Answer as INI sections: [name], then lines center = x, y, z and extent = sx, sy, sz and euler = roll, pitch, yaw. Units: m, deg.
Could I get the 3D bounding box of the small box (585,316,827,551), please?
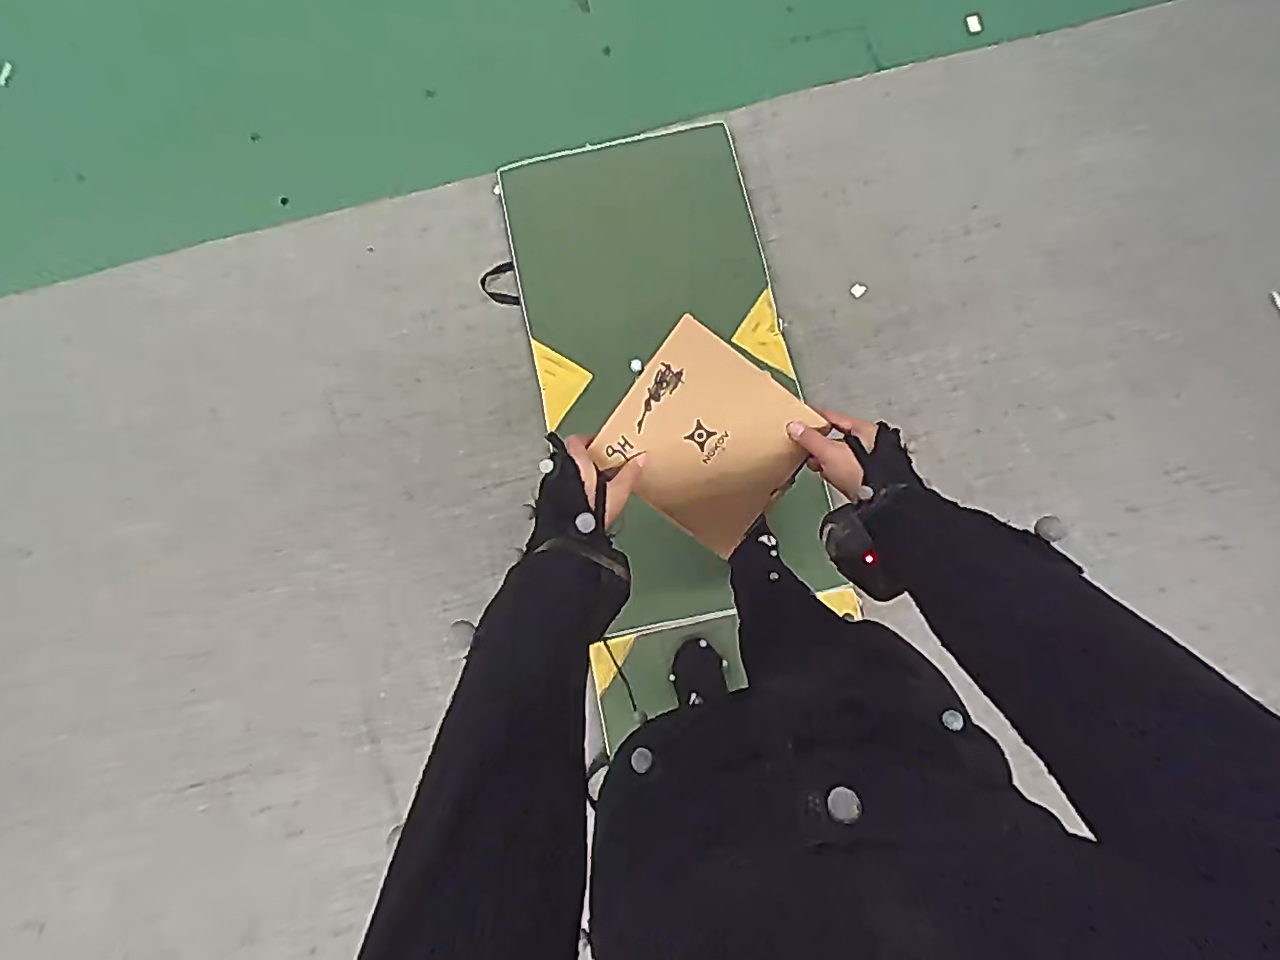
[small box]
center = 0.064, -0.055, 0.595
extent = 0.179, 0.176, 0.168
euler = 36, 98, -5
